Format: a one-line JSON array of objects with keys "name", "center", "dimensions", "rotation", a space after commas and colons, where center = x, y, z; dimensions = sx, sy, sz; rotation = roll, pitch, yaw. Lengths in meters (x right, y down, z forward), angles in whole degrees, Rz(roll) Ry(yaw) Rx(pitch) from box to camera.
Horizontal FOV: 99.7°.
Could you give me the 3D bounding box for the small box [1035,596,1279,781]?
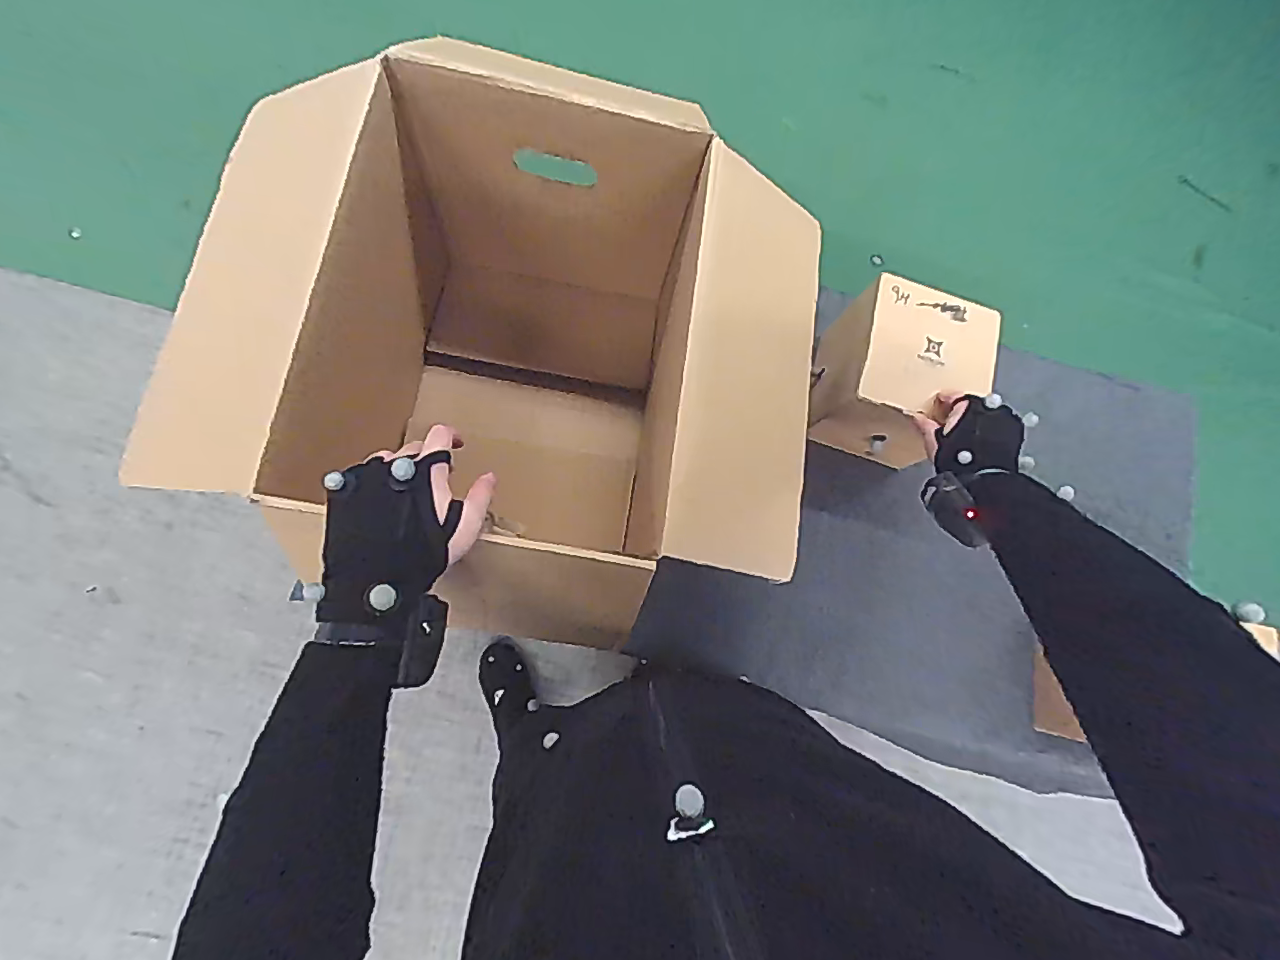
[{"name": "small box", "center": [0.649, 0.253, 0.695], "dimensions": [0.168, 0.176, 0.179], "rotation": [13, 76, -4]}]
